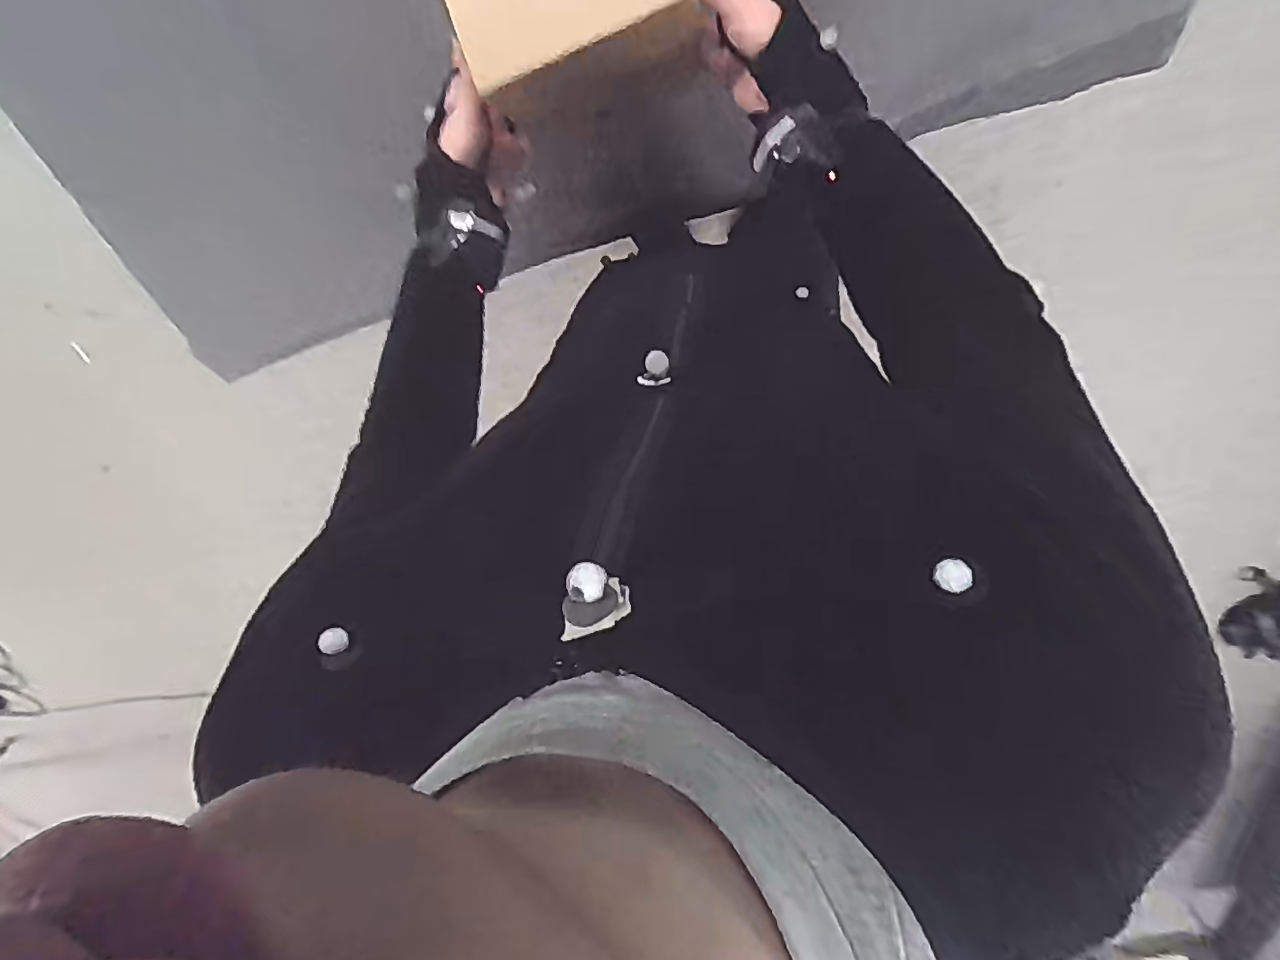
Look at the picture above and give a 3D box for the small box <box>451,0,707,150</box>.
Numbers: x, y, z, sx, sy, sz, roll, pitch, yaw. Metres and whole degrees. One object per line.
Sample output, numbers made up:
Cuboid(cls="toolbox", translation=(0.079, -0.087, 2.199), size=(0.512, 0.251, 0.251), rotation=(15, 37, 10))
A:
Cuboid(cls="small box", translation=(-0.048, -0.394, 0.419), size=(0.168, 0.176, 0.179), rotation=(-14, 107, 13))
